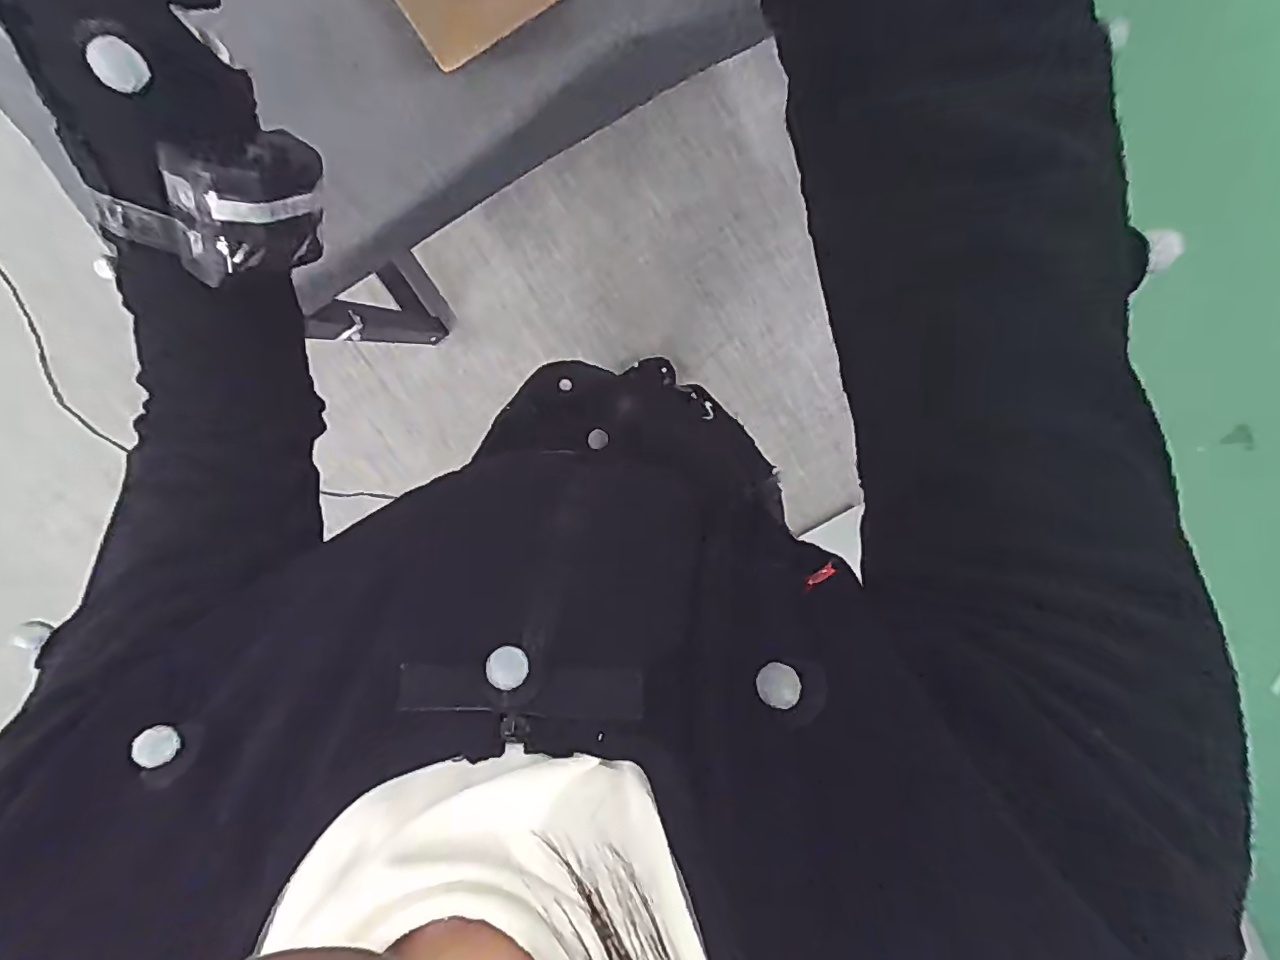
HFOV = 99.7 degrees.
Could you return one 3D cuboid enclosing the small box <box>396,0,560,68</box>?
[{"bbox_3d":[-0.176,-0.533,0.490,0.179,0.176,0.168,-28,100,8],"label":"small box"}]
